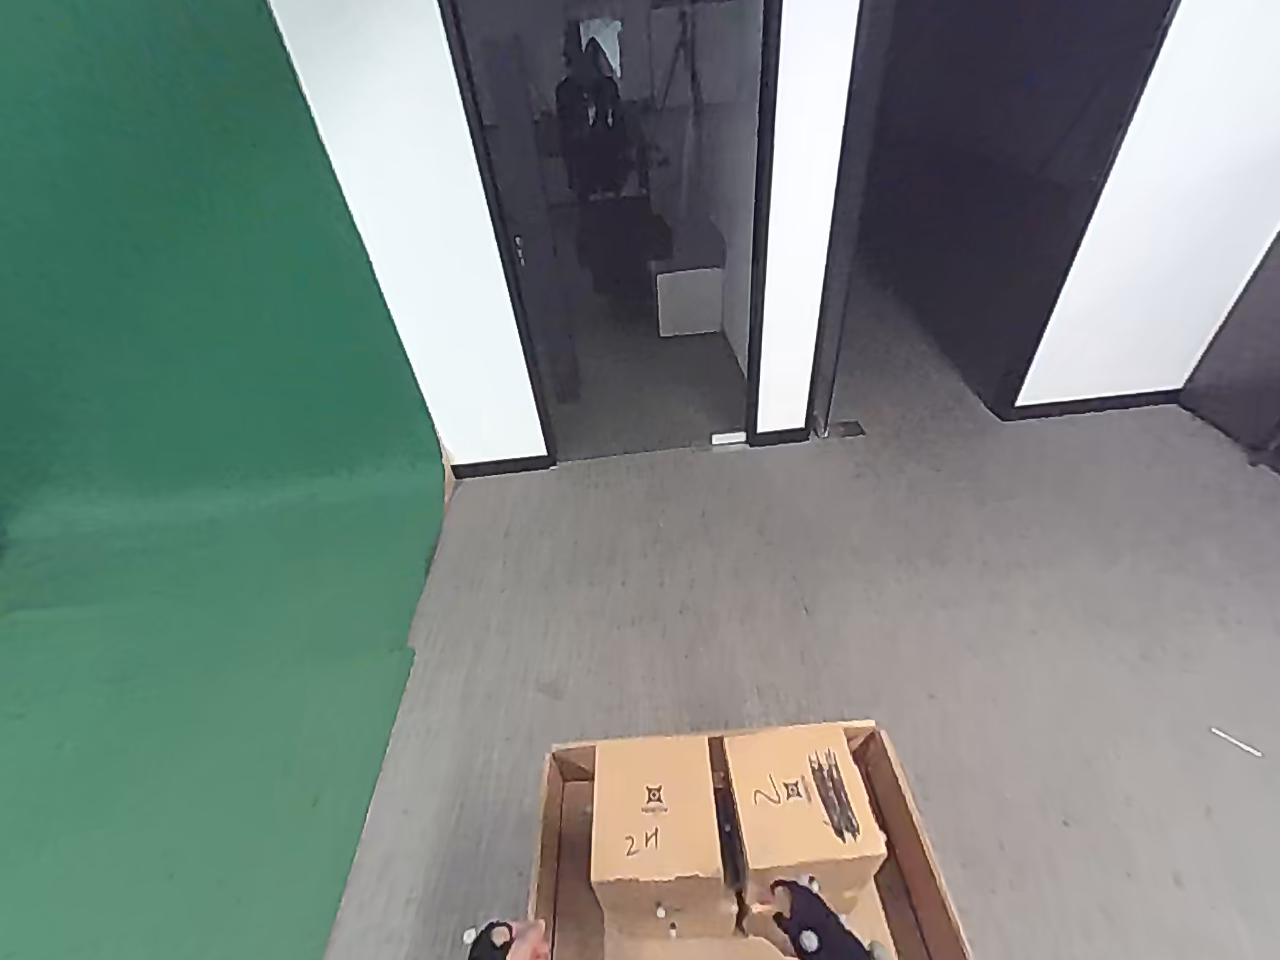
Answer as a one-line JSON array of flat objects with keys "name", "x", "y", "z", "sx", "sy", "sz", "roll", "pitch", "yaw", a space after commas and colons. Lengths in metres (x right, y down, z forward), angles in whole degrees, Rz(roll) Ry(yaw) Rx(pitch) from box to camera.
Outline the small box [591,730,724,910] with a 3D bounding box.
[{"name": "small box", "x": 0.026, "y": 0.487, "z": 0.777, "sx": 0.168, "sy": 0.176, "sz": 0.179, "roll": -4, "pitch": 39, "yaw": 2}]
